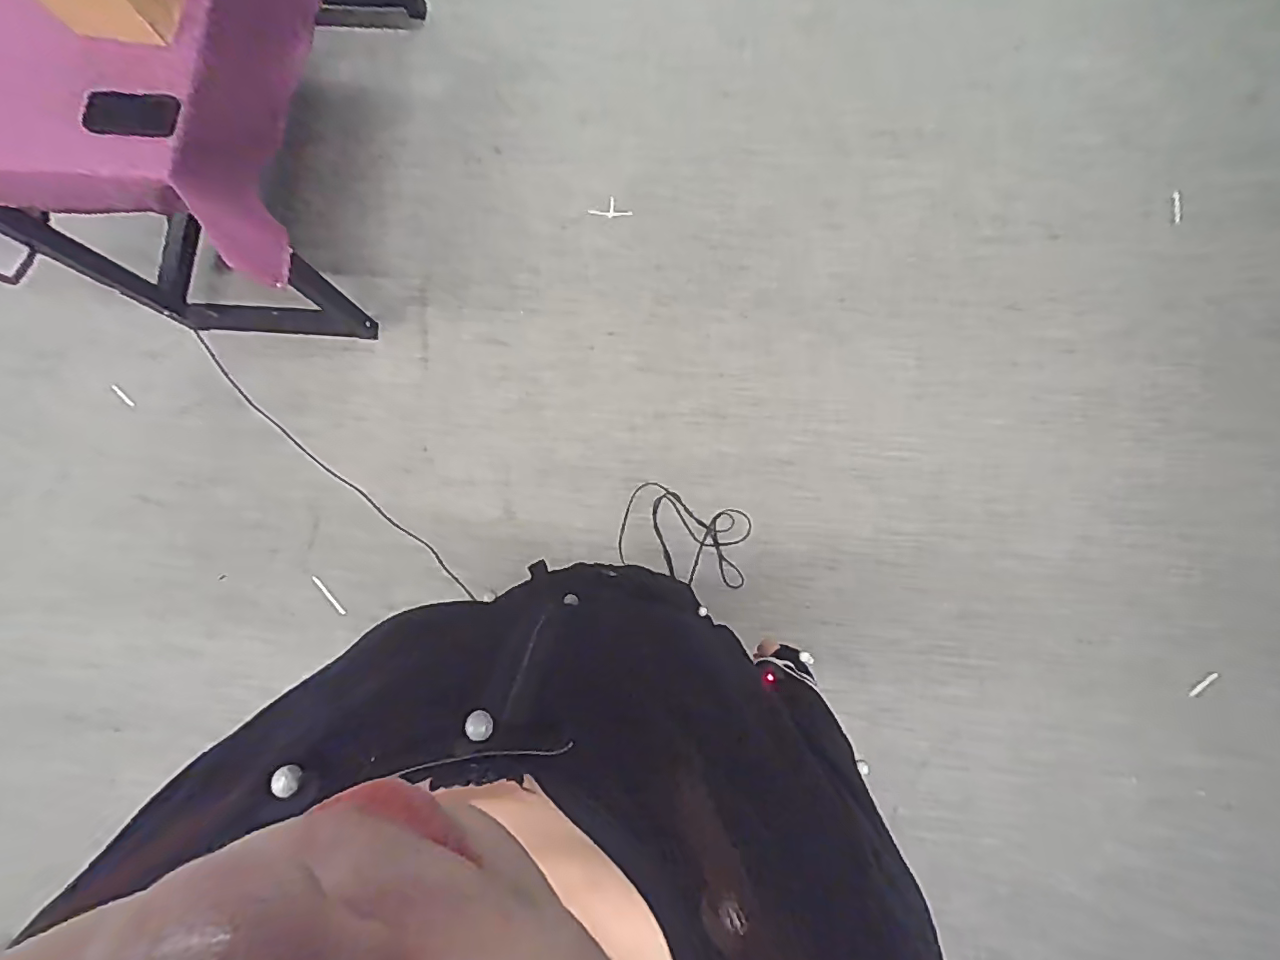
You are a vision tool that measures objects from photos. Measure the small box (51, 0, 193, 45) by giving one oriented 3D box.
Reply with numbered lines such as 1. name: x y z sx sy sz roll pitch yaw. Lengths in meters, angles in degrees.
1. small box: -0.888 -0.862 0.885 0.179 0.176 0.168 8 81 2
